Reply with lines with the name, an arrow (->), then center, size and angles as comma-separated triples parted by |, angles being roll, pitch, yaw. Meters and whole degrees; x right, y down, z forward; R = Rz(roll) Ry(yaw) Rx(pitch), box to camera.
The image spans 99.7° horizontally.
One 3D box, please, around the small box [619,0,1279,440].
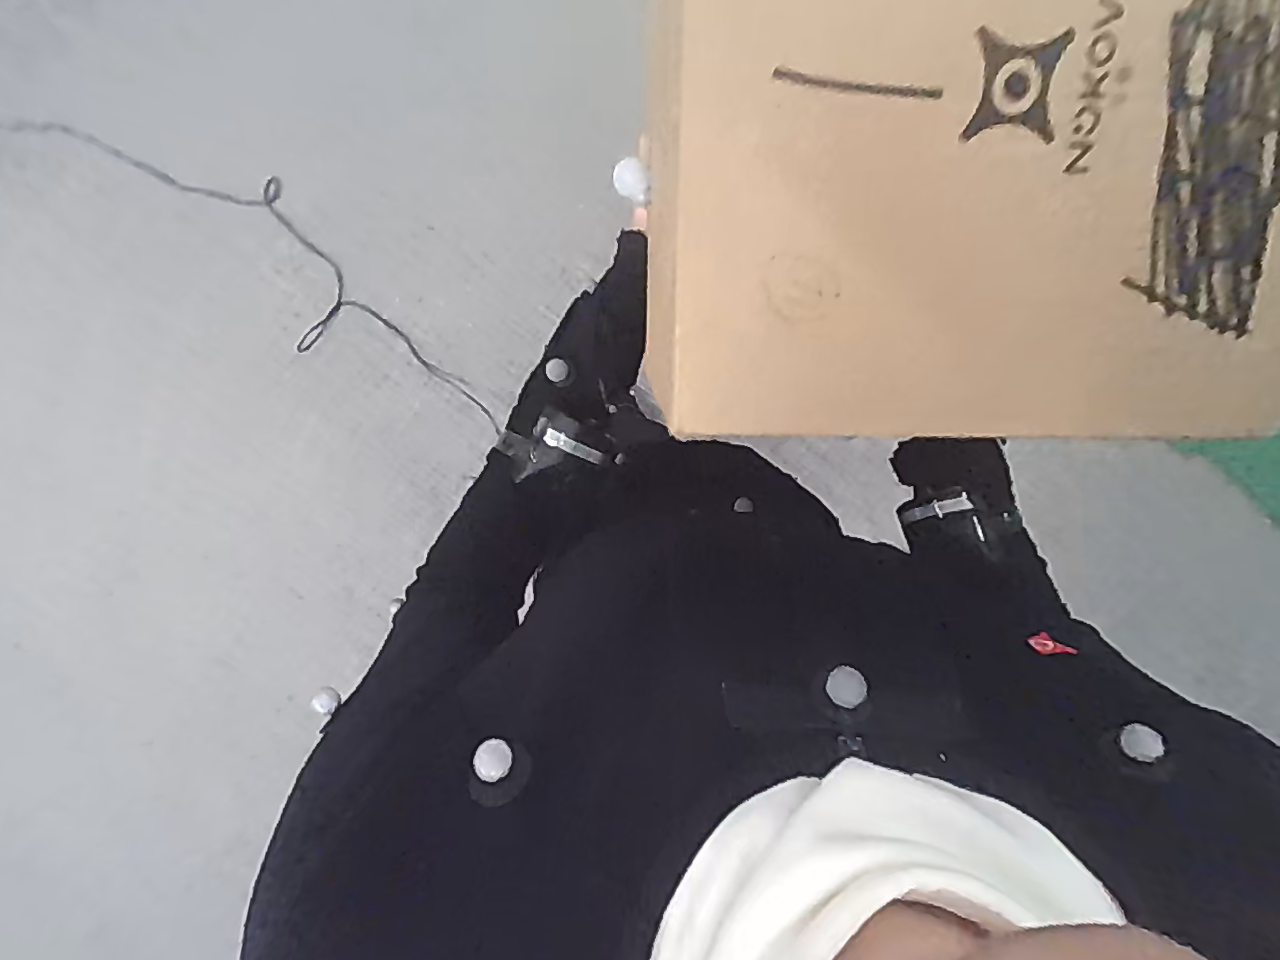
small box -> 0.085, -0.118, 0.210 | 0.179, 0.176, 0.168 | -4, 108, -2
